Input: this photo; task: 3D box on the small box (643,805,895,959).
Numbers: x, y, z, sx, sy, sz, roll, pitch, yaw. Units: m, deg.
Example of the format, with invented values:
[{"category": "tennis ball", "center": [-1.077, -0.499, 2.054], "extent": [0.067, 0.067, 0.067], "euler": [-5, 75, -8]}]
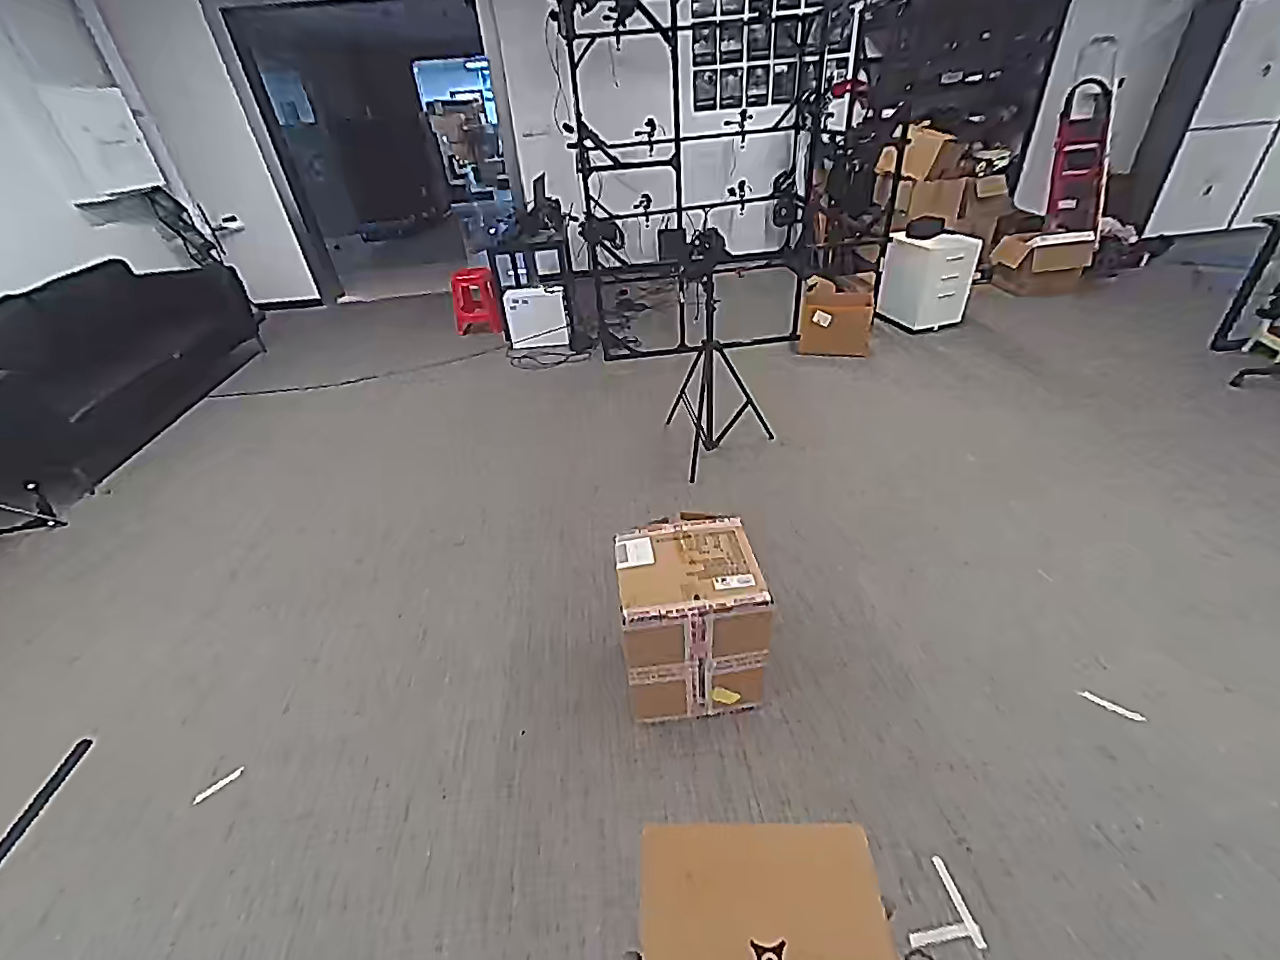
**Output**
[{"category": "small box", "center": [0.086, 0.366, 0.406], "extent": [0.168, 0.176, 0.179], "euler": [-2, 45, 3]}]
